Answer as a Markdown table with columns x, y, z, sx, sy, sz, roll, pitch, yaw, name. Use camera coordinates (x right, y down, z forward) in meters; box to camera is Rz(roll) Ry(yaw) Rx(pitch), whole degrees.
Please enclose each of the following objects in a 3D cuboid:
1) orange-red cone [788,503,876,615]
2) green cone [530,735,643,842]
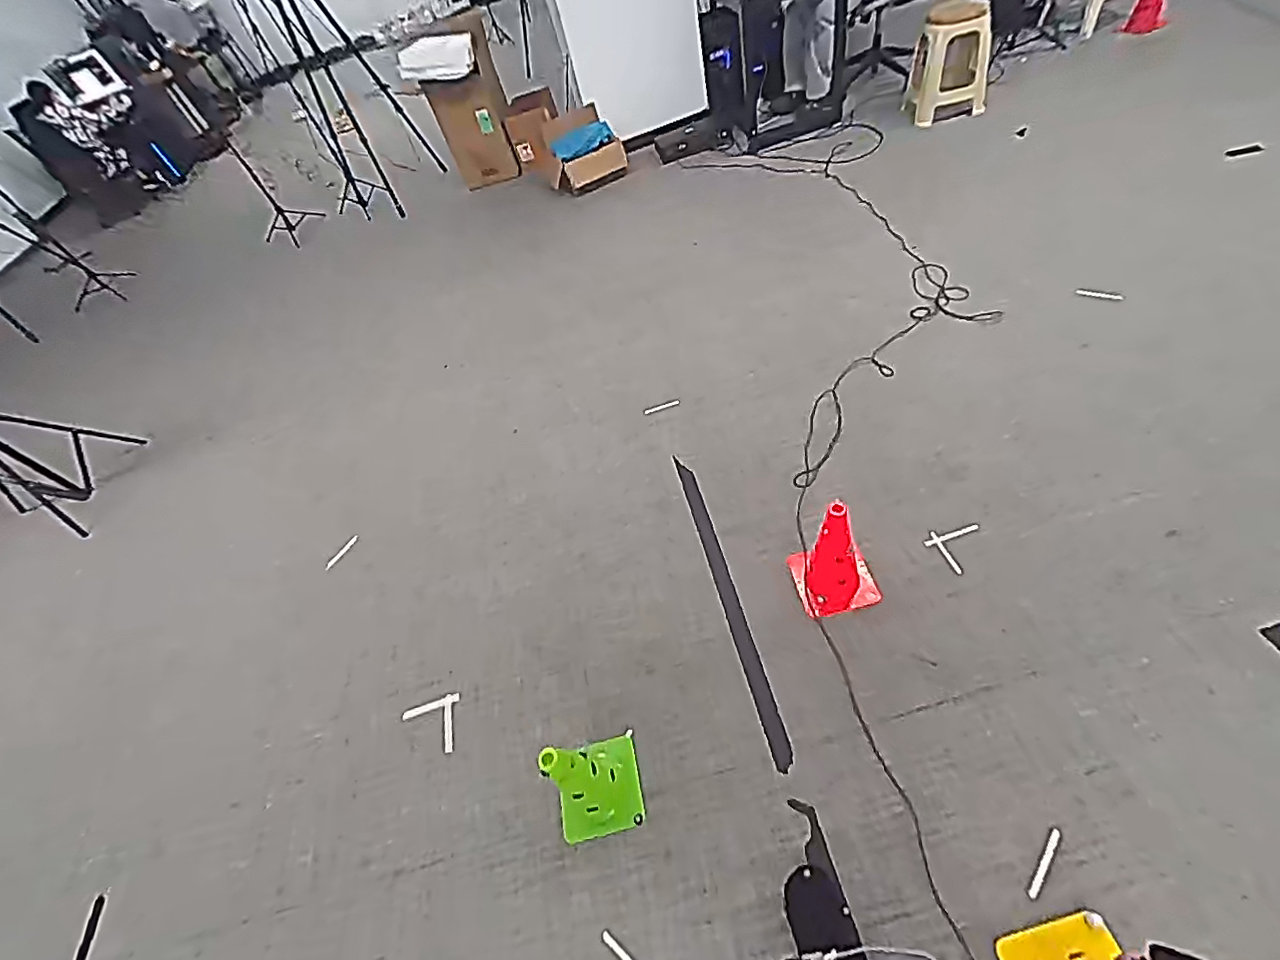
| x | y | z | sx | sy | sz | roll | pitch | yaw | name |
| --- | --- | --- | --- | --- | --- | --- | --- | --- | --- |
| 0.492 | 0.170 | 1.372 | 0.199 | 0.360 | 0.198 | -14 | 51 | 5 | orange-red cone |
| -0.146 | 0.641 | 1.187 | 0.202 | 0.368 | 0.200 | -19 | 49 | 4 | green cone |
